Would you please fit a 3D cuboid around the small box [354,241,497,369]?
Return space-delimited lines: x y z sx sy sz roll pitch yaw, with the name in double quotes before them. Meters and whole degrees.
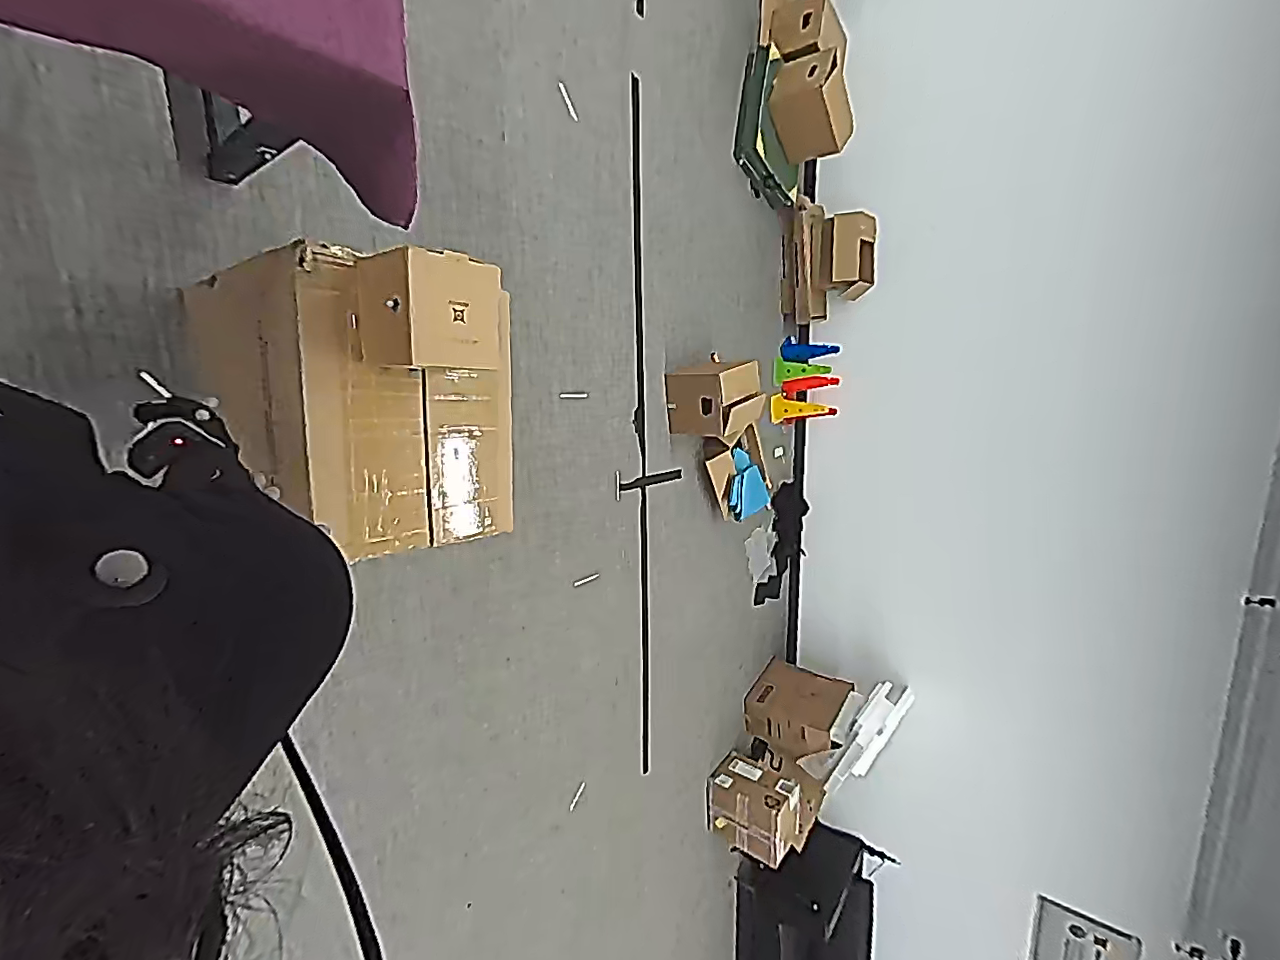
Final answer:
"small box" -0.360 -0.280 0.907 0.168 0.176 0.179 -10 105 -50
